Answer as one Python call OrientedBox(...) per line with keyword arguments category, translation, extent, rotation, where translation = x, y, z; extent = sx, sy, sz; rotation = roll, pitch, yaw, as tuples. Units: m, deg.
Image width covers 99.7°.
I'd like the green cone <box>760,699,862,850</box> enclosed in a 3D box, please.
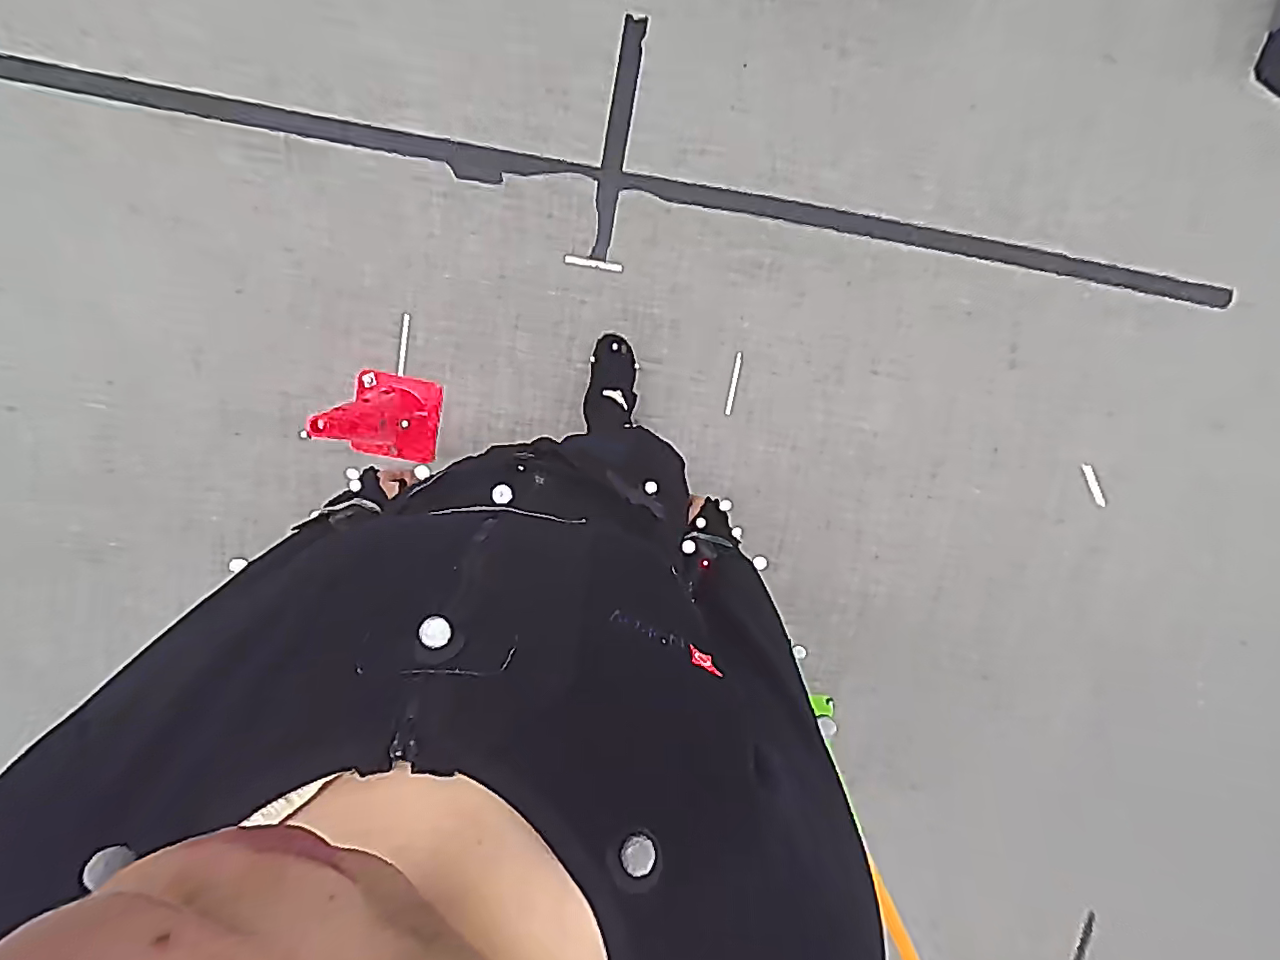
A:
OrientedBox(category="green cone", translation=(0.439, 0.729, 1.320), extent=(0.200, 0.368, 0.202), rotation=(-1, 101, -3))
